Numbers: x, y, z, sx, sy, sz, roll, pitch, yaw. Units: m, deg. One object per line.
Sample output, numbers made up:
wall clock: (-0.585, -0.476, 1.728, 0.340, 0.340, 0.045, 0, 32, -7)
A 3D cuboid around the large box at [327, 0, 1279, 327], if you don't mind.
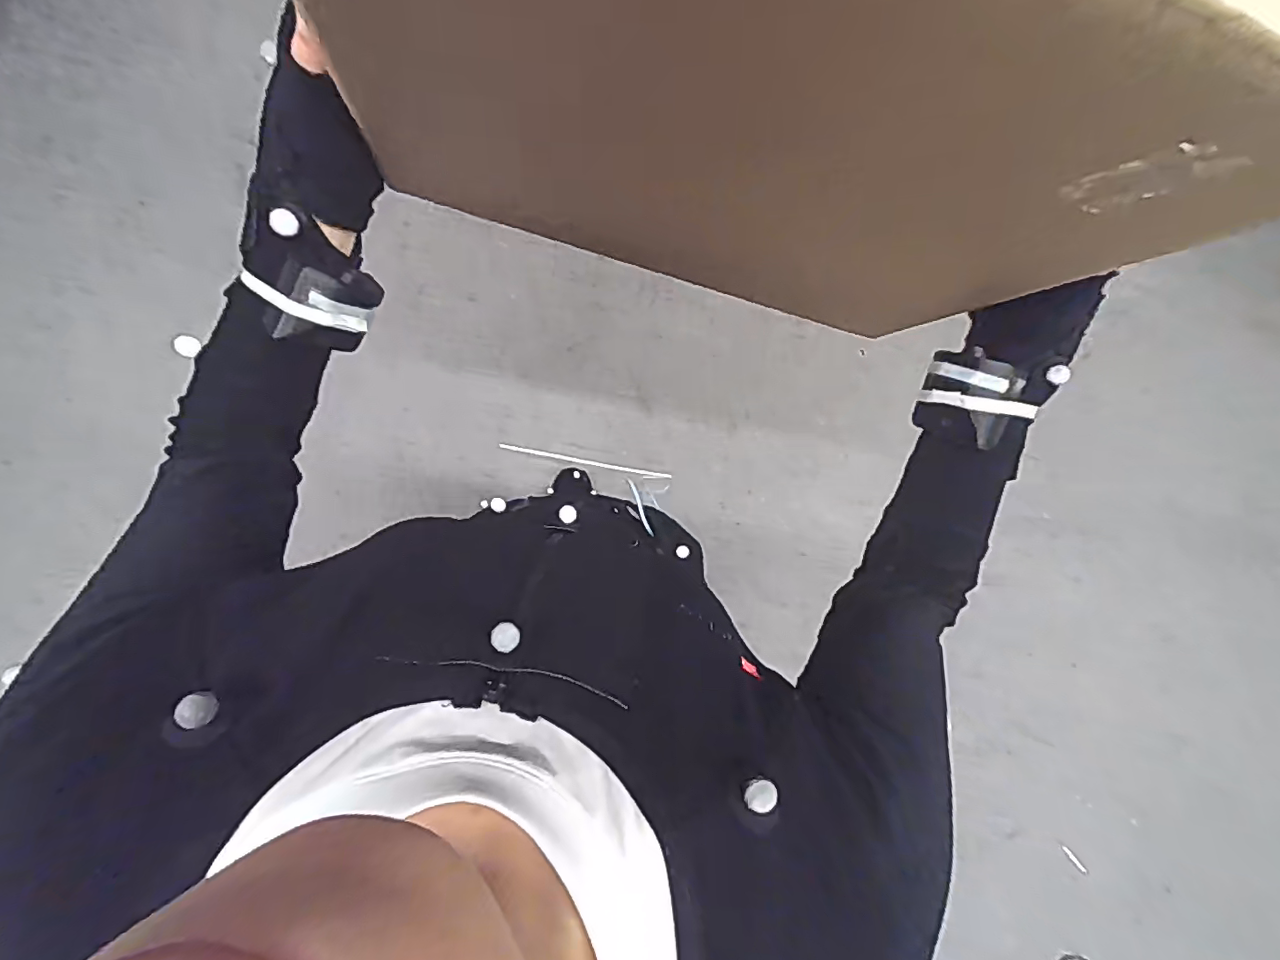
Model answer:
large box: (0.082, -0.308, 0.280, 0.408, 0.320, 0.320, 13, 92, -14)
